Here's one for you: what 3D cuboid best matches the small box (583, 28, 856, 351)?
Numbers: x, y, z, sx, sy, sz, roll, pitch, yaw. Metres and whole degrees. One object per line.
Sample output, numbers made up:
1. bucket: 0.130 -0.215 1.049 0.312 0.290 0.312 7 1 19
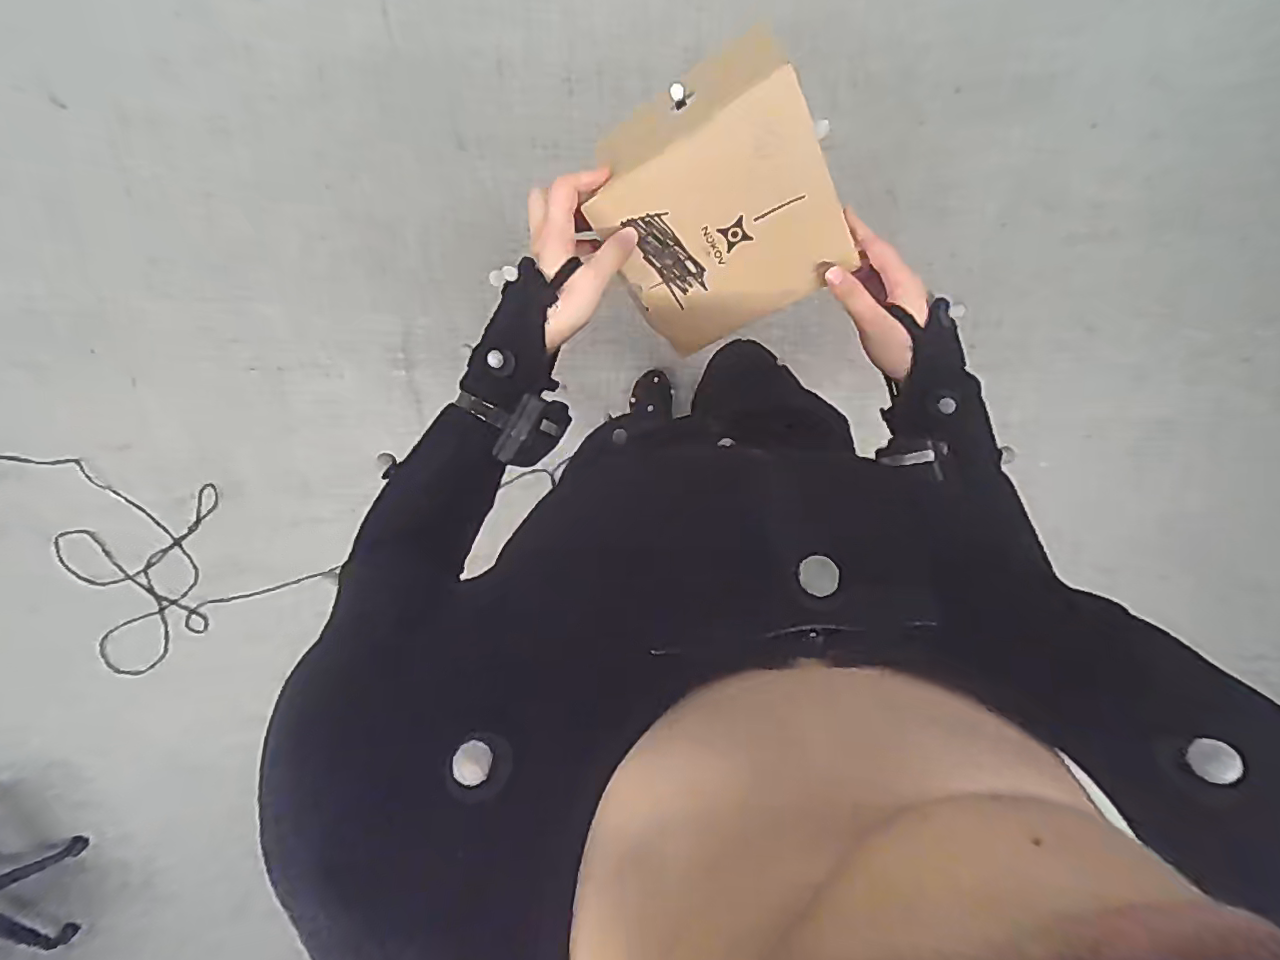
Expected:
1. small box: 0.072 -0.257 0.492 0.179 0.176 0.168 -21 134 25
